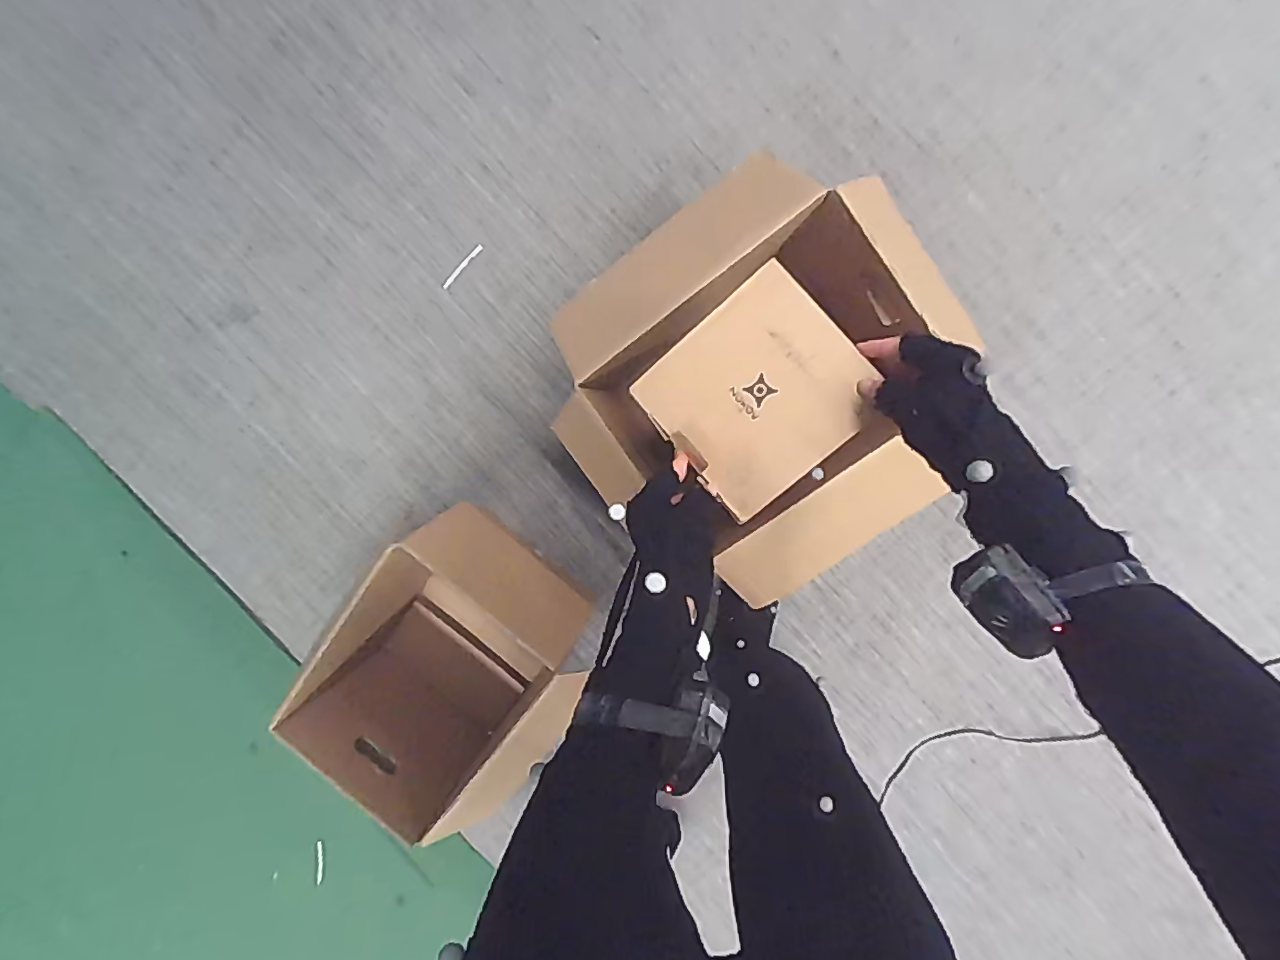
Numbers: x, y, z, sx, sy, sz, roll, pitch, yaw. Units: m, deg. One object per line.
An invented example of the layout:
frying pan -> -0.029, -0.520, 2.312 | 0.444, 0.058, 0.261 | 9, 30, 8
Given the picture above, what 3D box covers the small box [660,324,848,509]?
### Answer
small box -> 0.148, -0.088, 0.744 | 0.179, 0.176, 0.168 | -37, 92, 12
